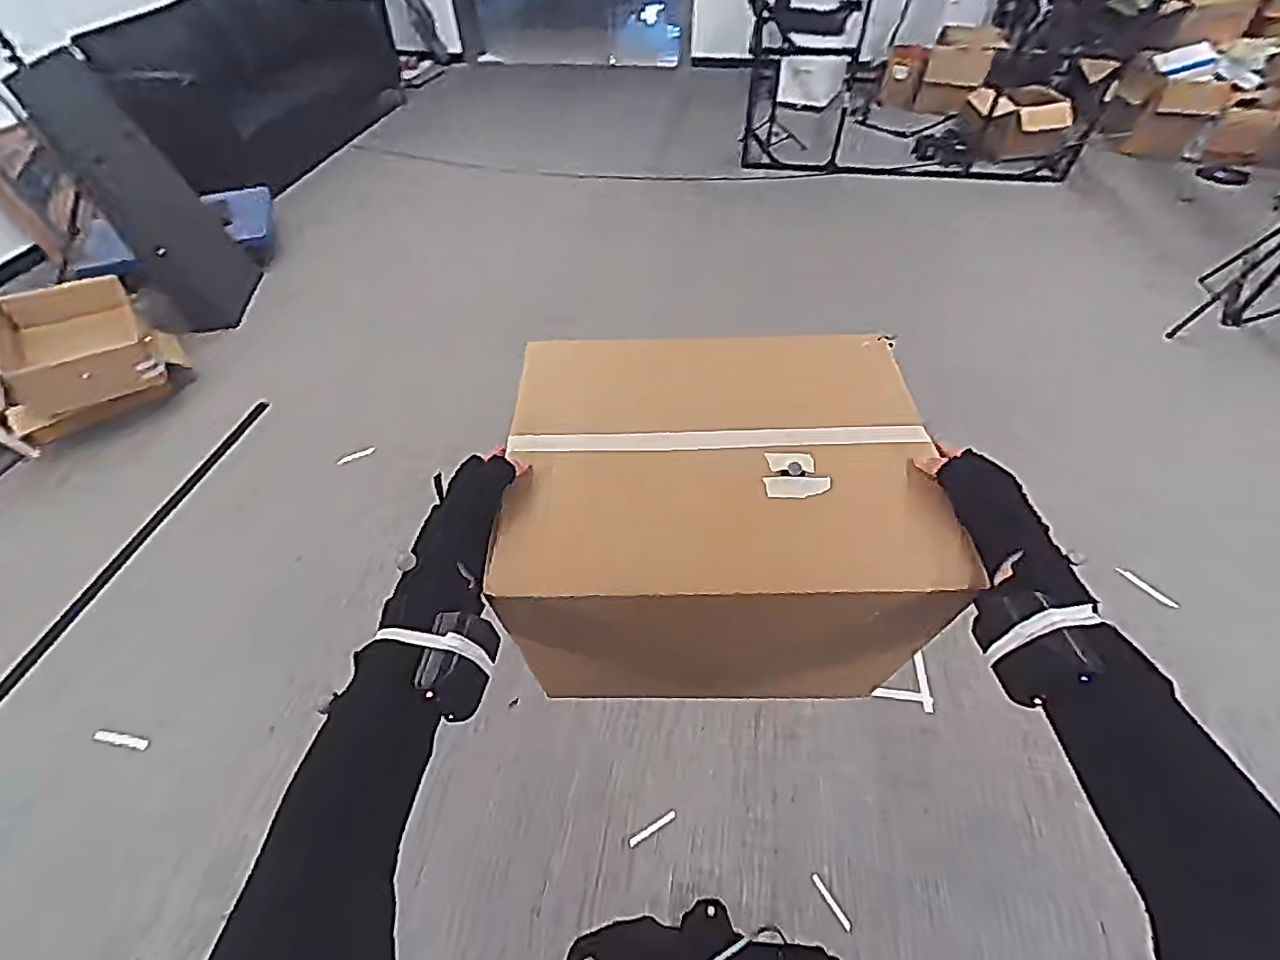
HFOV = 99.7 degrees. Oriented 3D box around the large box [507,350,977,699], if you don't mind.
[{"bbox_3d":[0.086,0.064,0.657,0.408,0.320,0.320,-1,54,2],"label":"large box"}]
